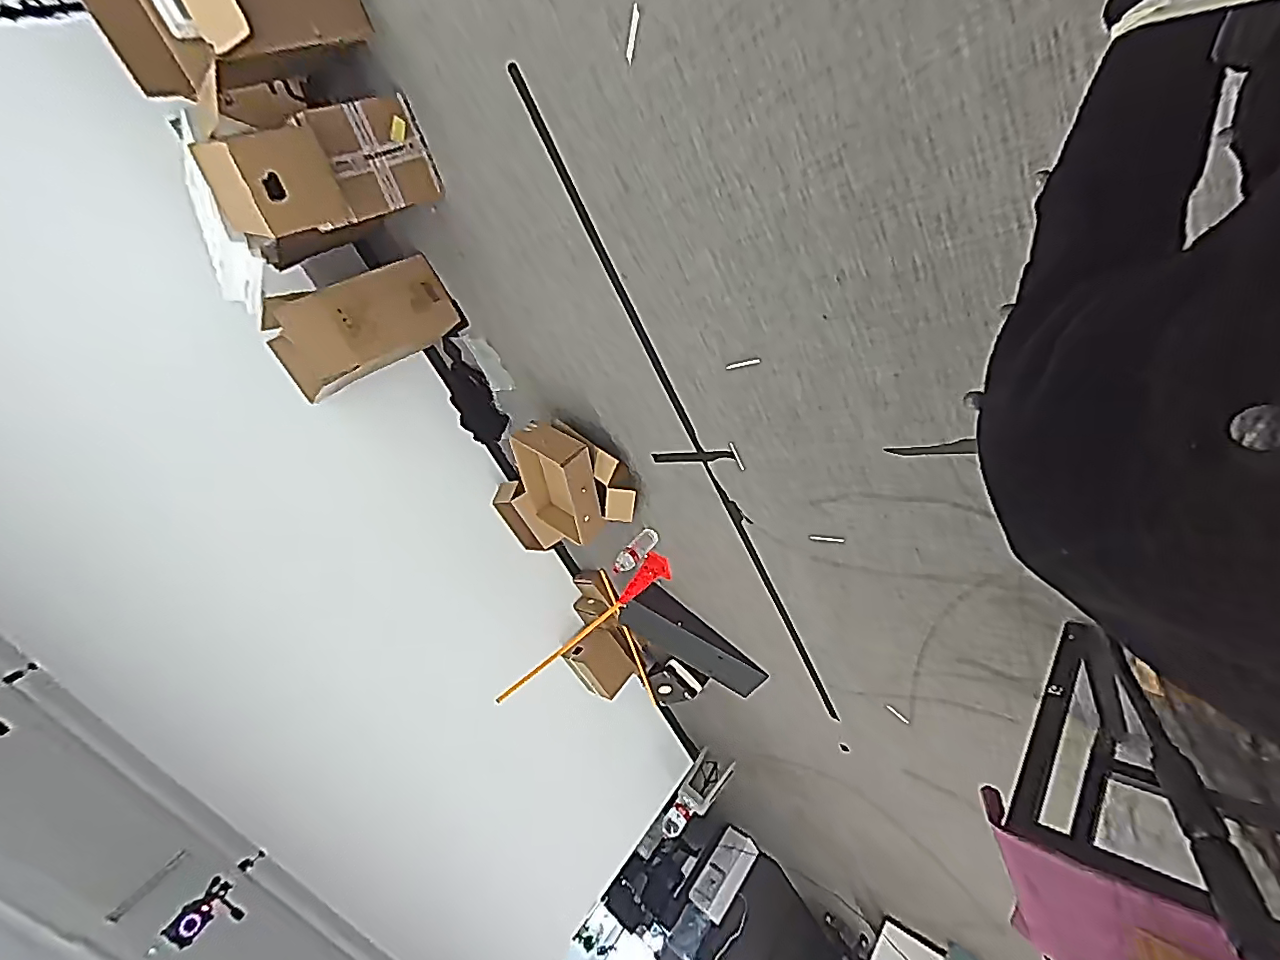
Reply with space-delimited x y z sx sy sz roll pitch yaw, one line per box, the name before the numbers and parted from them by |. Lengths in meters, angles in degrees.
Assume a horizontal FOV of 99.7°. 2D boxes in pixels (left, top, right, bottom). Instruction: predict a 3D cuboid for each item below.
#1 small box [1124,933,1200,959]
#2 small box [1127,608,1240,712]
small box | 1.123 1.097 1.122 0.179 0.176 0.168 2 127 50
small box | 1.447 0.471 1.443 0.179 0.176 0.168 17 137 39
